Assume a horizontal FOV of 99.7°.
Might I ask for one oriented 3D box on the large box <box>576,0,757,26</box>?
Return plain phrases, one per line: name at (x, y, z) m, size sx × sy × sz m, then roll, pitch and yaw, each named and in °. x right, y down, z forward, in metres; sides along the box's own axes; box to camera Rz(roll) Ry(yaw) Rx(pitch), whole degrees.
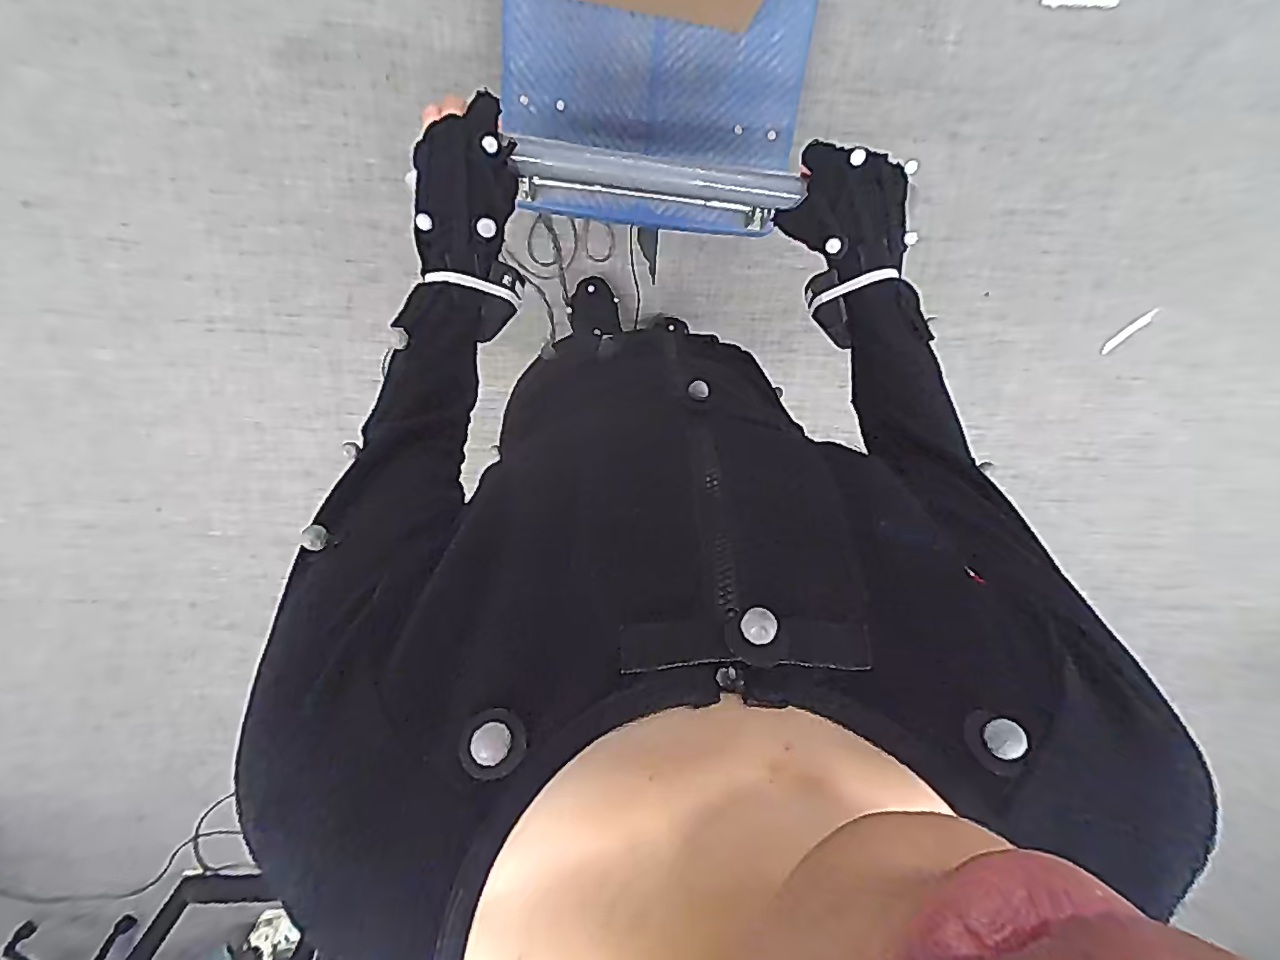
large box at (0.021, -0.957, 0.818) m, size 0.408 × 0.320 × 0.320 m, roll 6°, pitch 111°, yaw -5°
